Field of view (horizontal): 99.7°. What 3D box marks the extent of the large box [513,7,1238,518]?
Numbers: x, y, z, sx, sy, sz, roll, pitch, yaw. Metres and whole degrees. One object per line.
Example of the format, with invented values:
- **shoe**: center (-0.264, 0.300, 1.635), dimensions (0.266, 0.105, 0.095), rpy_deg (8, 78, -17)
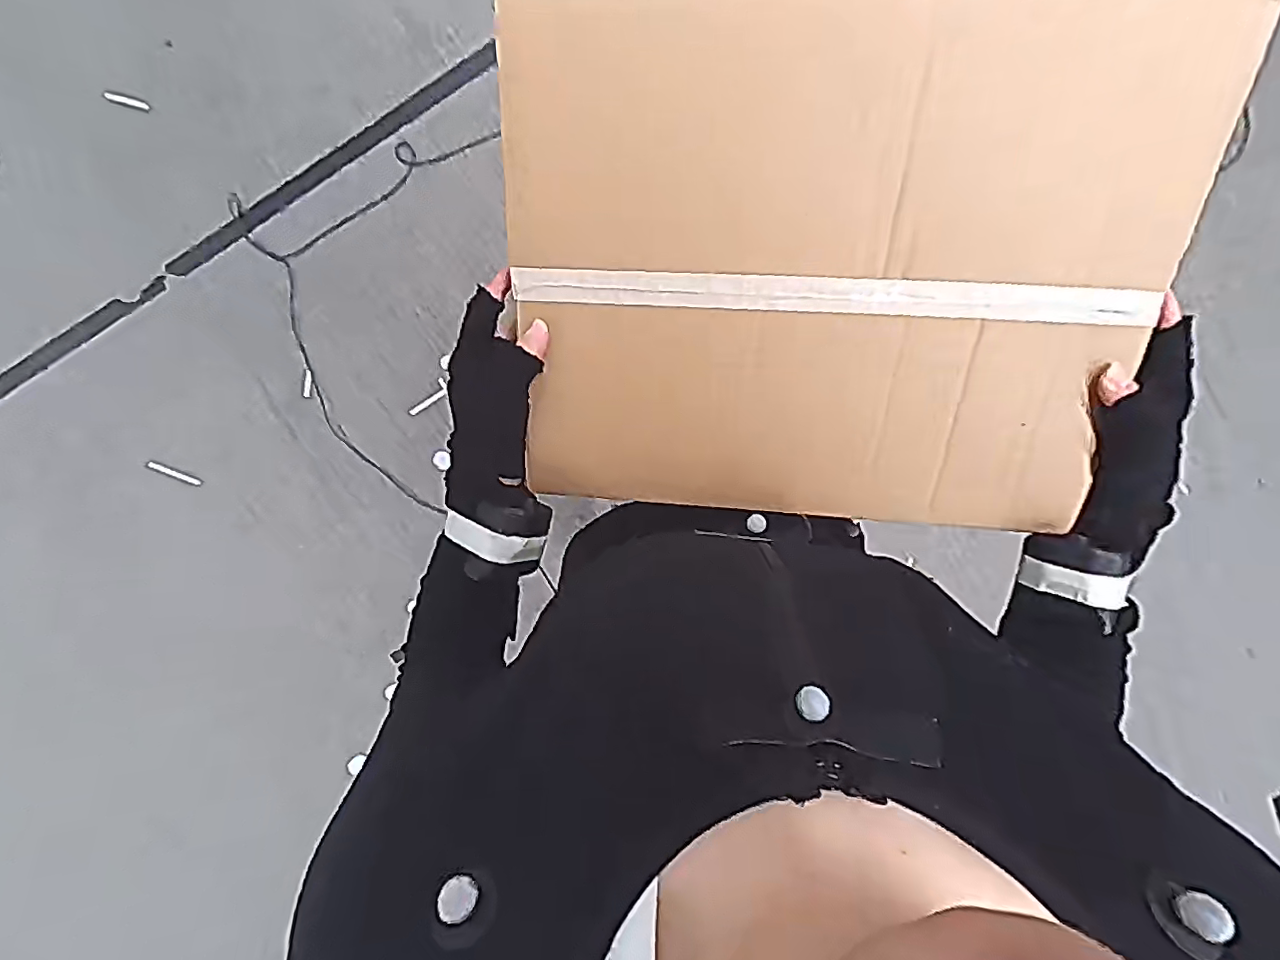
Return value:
- **large box**: center (0.131, -0.180, 0.498), dimensions (0.408, 0.320, 0.320), rpy_deg (4, 115, 4)
